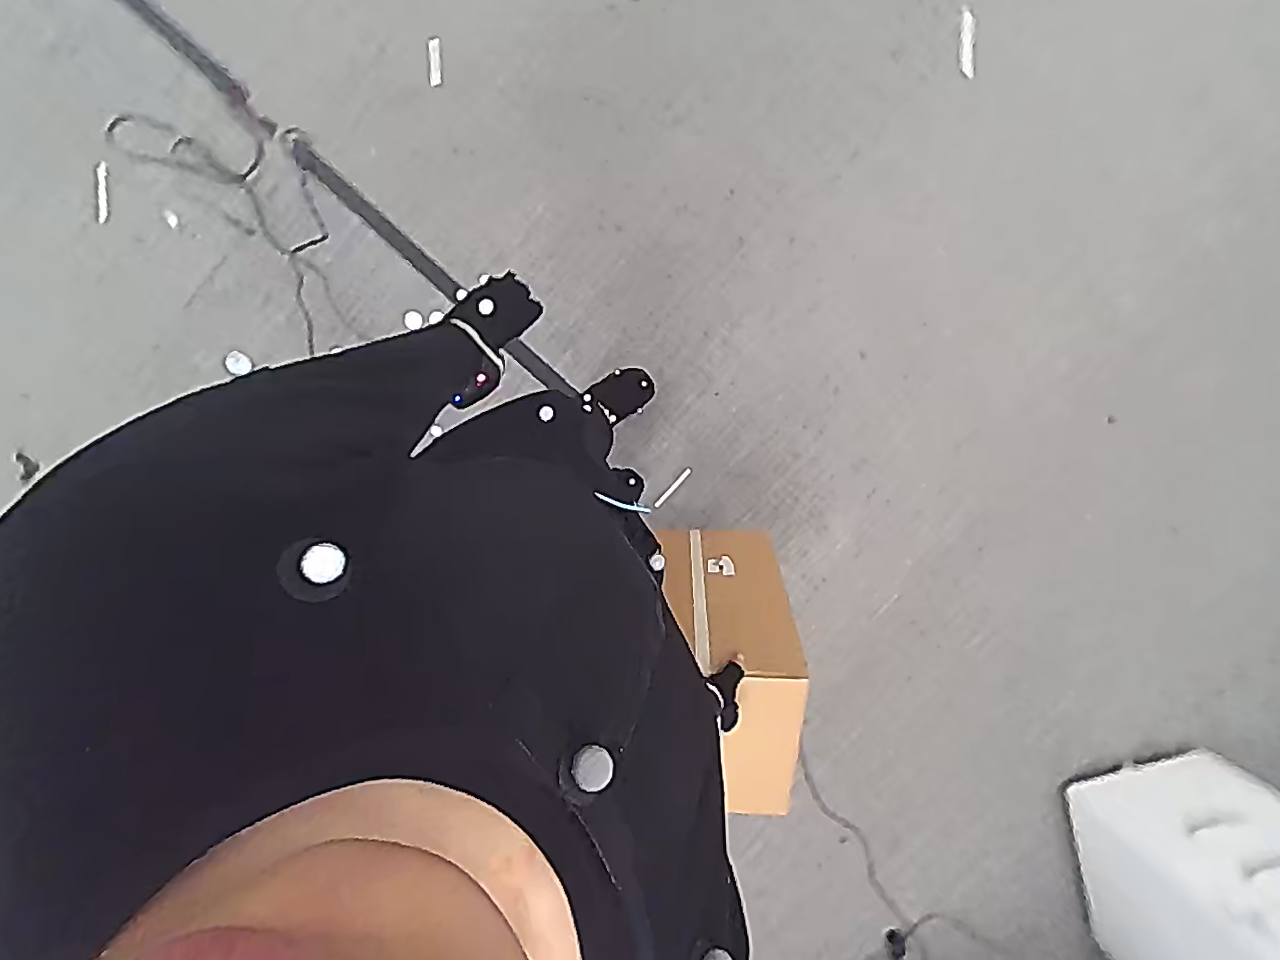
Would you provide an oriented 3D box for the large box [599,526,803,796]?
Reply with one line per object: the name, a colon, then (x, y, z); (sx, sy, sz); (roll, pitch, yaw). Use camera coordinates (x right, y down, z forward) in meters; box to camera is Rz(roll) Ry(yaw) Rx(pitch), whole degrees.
large box: (0.108, 0.327, 1.046); (0.320, 0.408, 0.320); (-1, 115, 4)
